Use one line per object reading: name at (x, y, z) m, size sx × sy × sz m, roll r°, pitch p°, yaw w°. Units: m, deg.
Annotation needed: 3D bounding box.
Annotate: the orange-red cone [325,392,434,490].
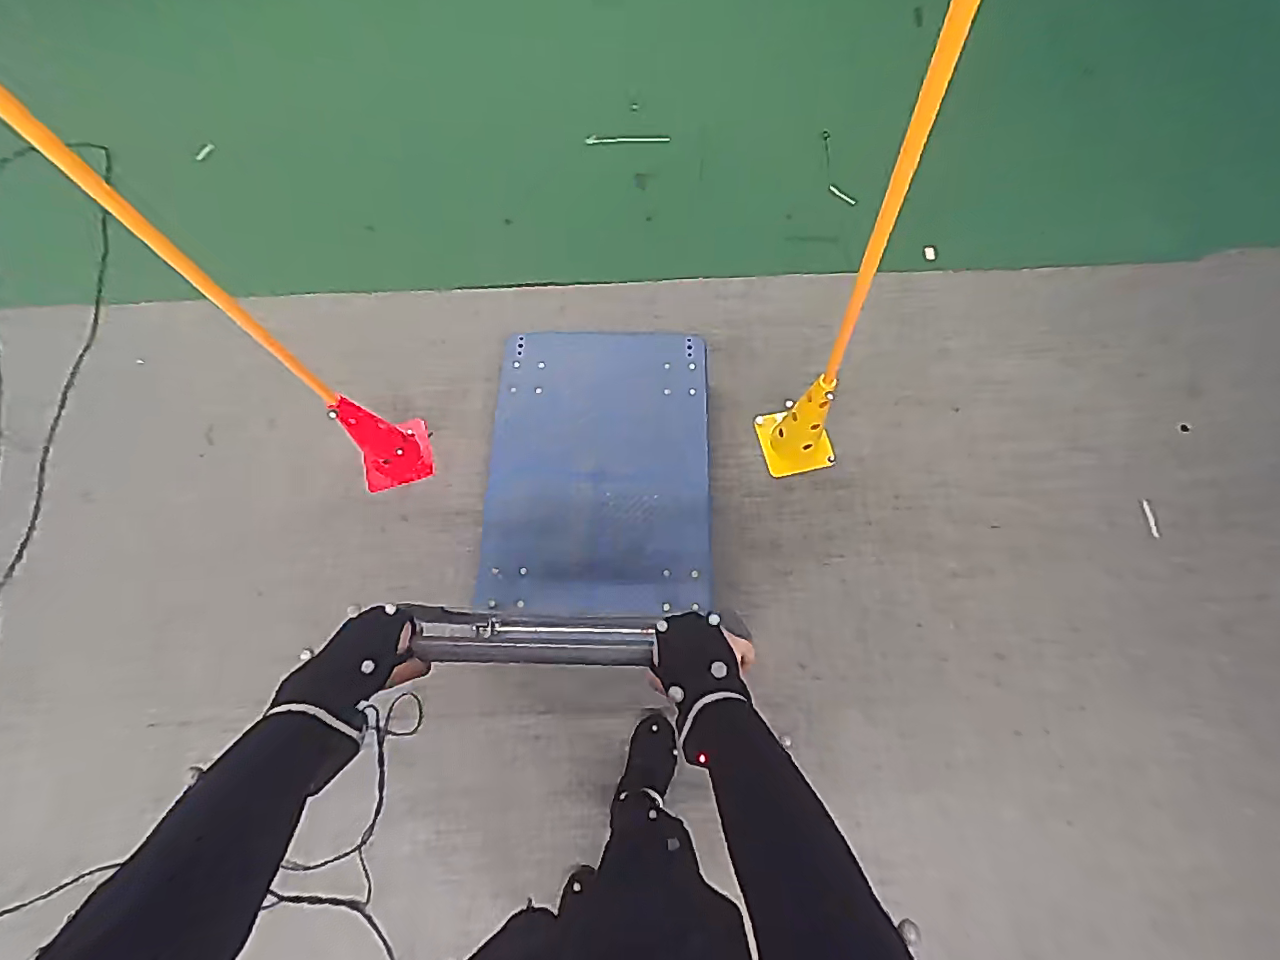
orange-red cone at (-0.728, -0.133, 1.451) m, size 0.199 × 0.360 × 0.198 m, roll -16°, pitch 70°, yaw -3°
